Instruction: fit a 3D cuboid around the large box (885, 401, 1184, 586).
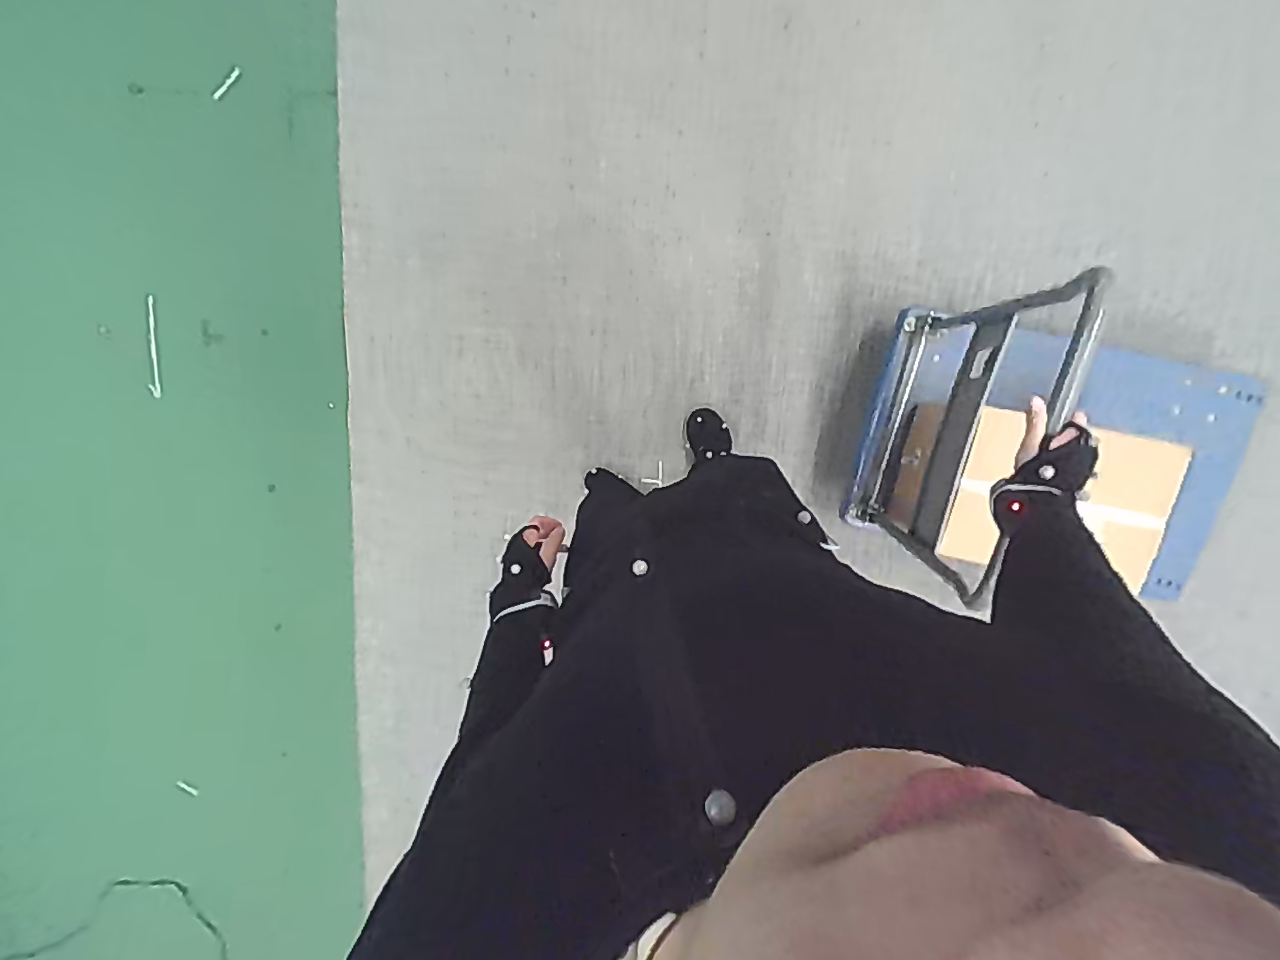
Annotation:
[{"bbox_3d":[0.840,0.008,1.224,0.408,0.320,0.320,12,101,2],"label":"large box"}]
